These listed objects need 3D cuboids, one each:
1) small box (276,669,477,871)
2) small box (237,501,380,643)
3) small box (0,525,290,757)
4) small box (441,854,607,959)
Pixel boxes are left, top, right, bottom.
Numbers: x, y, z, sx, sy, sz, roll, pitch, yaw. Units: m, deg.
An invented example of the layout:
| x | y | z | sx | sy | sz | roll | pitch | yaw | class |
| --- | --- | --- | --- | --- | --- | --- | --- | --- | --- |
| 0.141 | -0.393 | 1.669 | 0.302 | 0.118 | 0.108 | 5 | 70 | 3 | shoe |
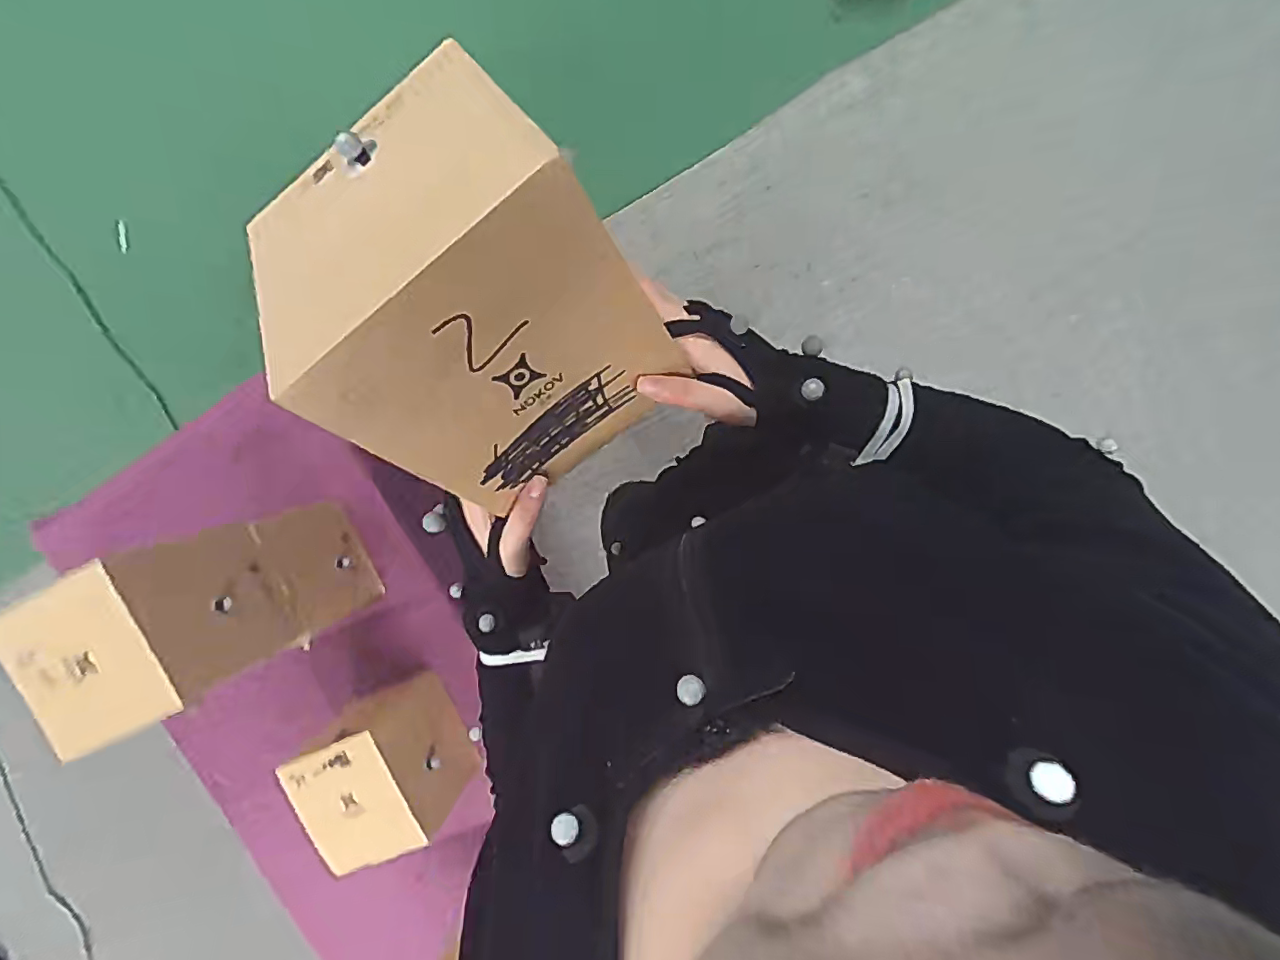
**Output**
| x | y | z | sx | sy | sz | roll | pitch | yaw | class |
| --- | --- | --- | --- | --- | --- | --- | --- | --- | --- |
| -0.372 | 0.417 | 0.799 | 0.168 | 0.176 | 0.179 | -26 | 94 | 11 | small box |
| -0.523 | 0.145 | 0.780 | 0.179 | 0.176 | 0.168 | -24 | 95 | 10 | small box |
| -0.546 | 0.168 | 0.618 | 0.179 | 0.176 | 0.168 | -26 | 94 | 11 | small box |
| -0.168 | 0.720 | 0.814 | 0.168 | 0.176 | 0.179 | -26 | 93 | 11 | small box |
